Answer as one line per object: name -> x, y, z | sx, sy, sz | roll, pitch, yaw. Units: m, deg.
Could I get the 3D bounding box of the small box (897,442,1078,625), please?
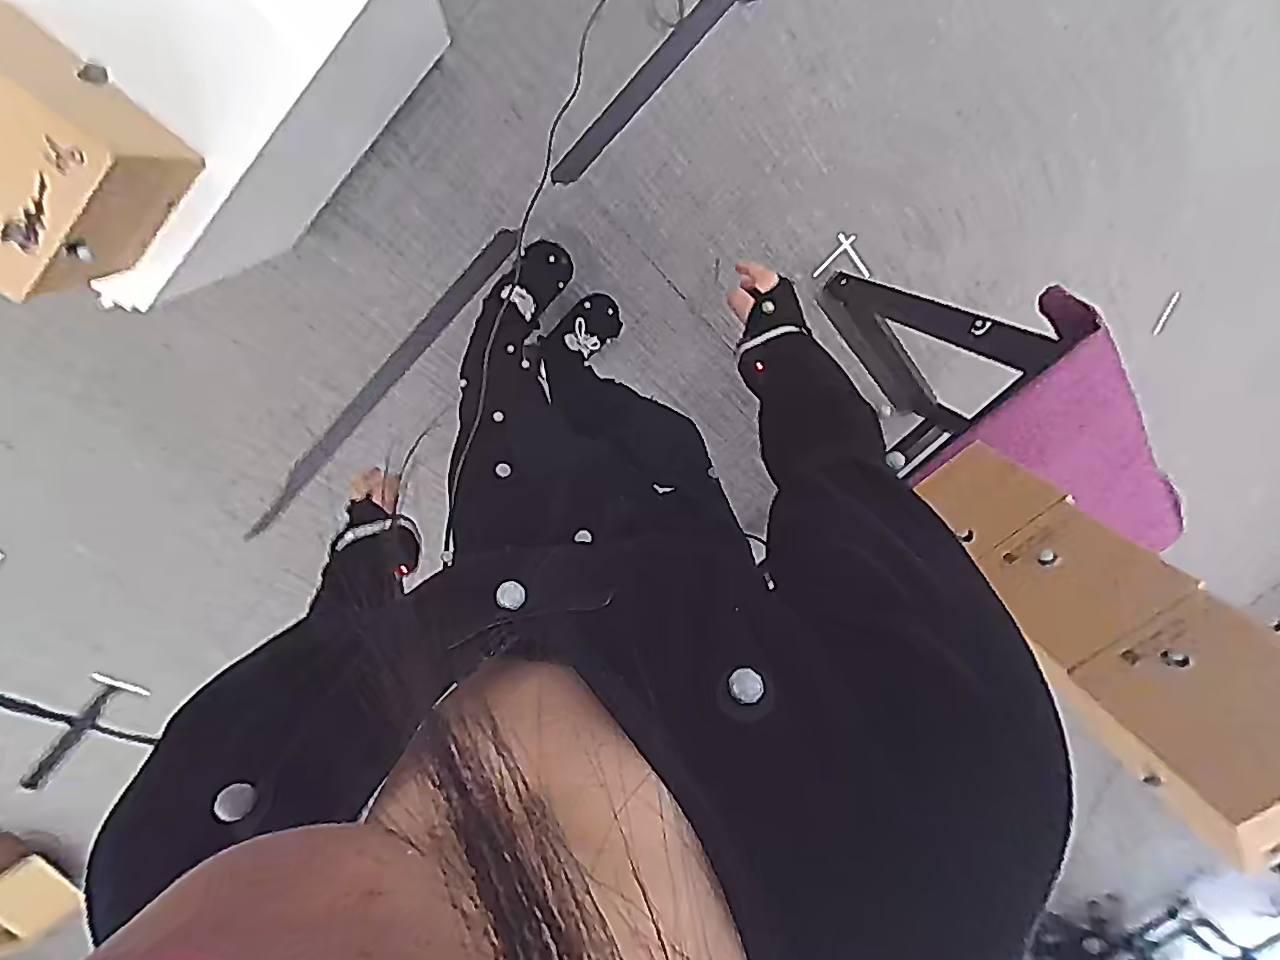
small box -> 0.525, 0.077, 0.821 | 0.179, 0.176, 0.168 | -41, 122, 10

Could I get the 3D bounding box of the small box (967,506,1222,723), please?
small box -> 0.566, 0.165, 0.688 | 0.168, 0.176, 0.179 | -41, 120, 10

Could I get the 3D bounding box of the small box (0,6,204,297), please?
small box -> -0.552, -0.294, 0.478 | 0.168, 0.176, 0.179 | -44, 120, 11
